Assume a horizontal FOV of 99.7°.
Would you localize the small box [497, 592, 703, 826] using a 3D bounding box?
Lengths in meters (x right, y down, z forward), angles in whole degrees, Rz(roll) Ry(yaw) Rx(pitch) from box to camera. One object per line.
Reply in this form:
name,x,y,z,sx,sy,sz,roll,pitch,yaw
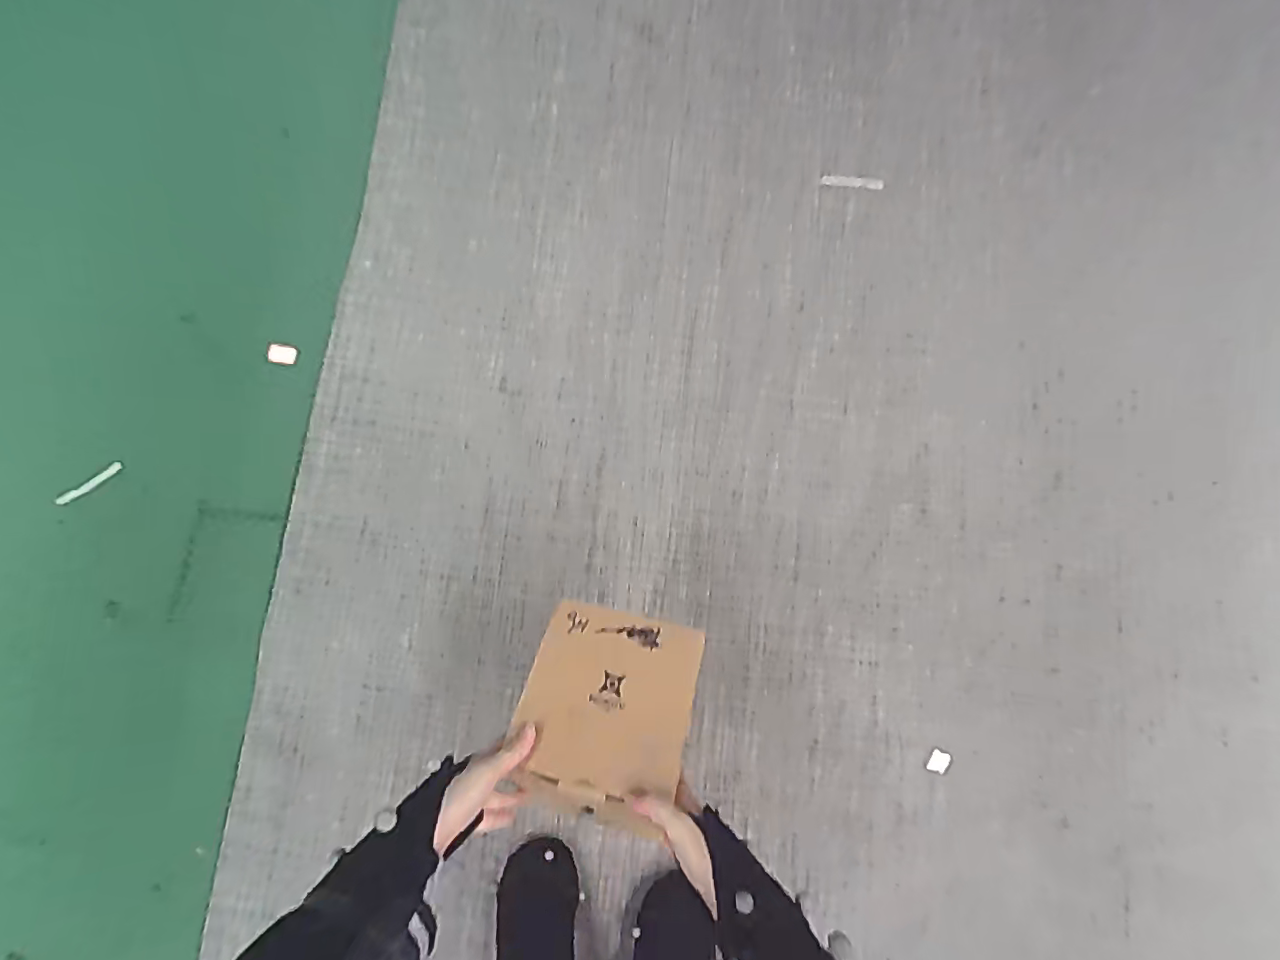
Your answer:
small box,-0.031,0.254,0.593,0.168,0.176,0.179,11,51,9
